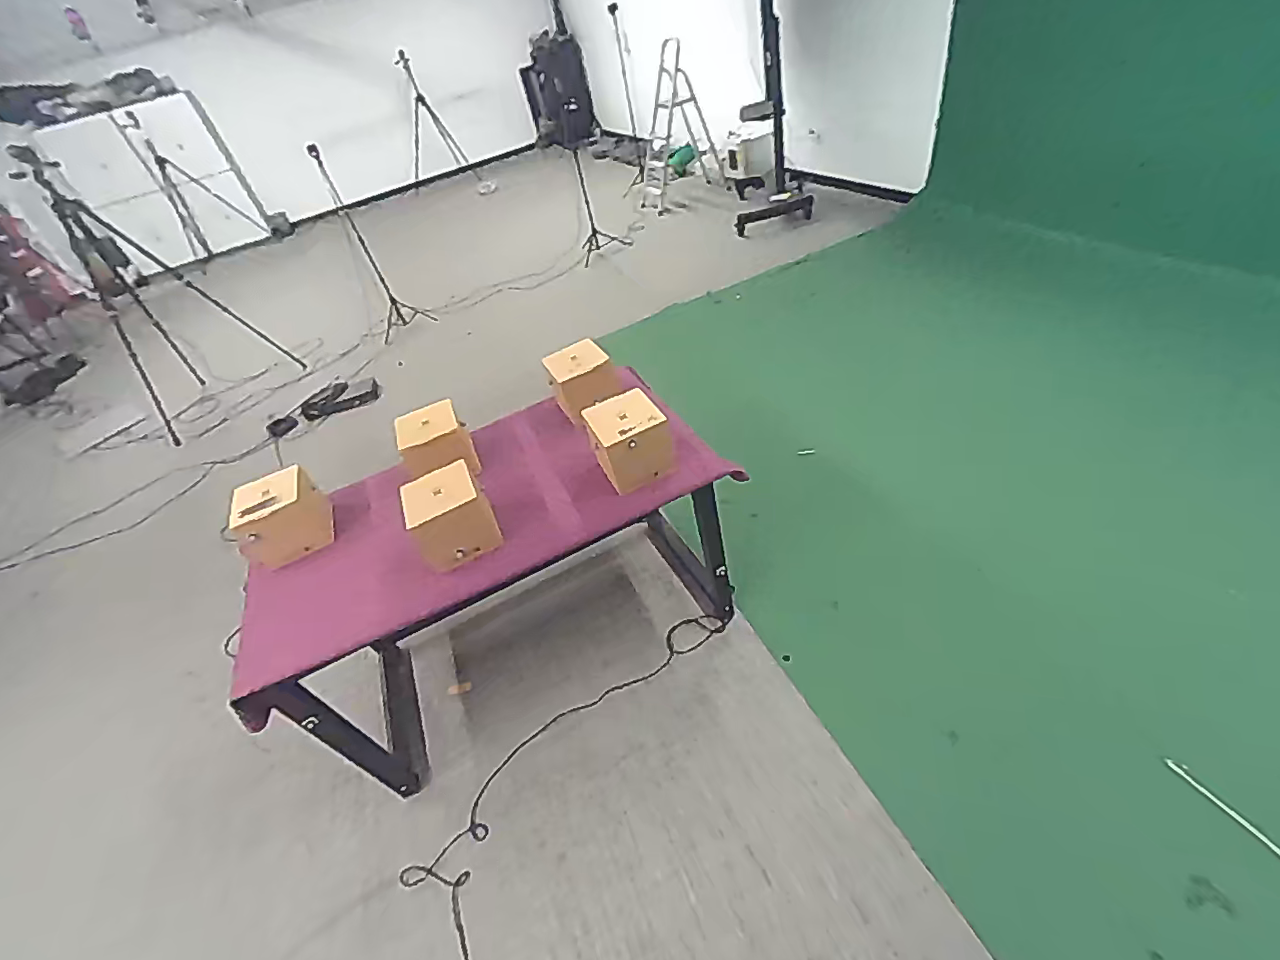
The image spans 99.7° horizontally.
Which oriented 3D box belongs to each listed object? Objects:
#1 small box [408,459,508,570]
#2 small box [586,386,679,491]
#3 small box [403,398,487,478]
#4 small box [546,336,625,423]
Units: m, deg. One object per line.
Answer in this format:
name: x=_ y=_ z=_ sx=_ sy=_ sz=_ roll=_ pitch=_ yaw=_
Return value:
small box: x=-0.442 y=0.085 z=1.320 sx=0.168 sy=0.176 sz=0.179 roll=-27 pitch=42 yaw=-9
small box: x=-0.018 y=-0.105 z=1.377 sx=0.168 sy=0.176 sz=0.179 roll=-26 pitch=43 yaw=-8
small box: x=-0.562 y=-0.101 z=1.560 sx=0.168 sy=0.176 sz=0.179 roll=-24 pitch=44 yaw=-9
small box: x=-0.160 y=-0.303 z=1.635 sx=0.168 sy=0.176 sz=0.179 roll=-29 pitch=44 yaw=-8
